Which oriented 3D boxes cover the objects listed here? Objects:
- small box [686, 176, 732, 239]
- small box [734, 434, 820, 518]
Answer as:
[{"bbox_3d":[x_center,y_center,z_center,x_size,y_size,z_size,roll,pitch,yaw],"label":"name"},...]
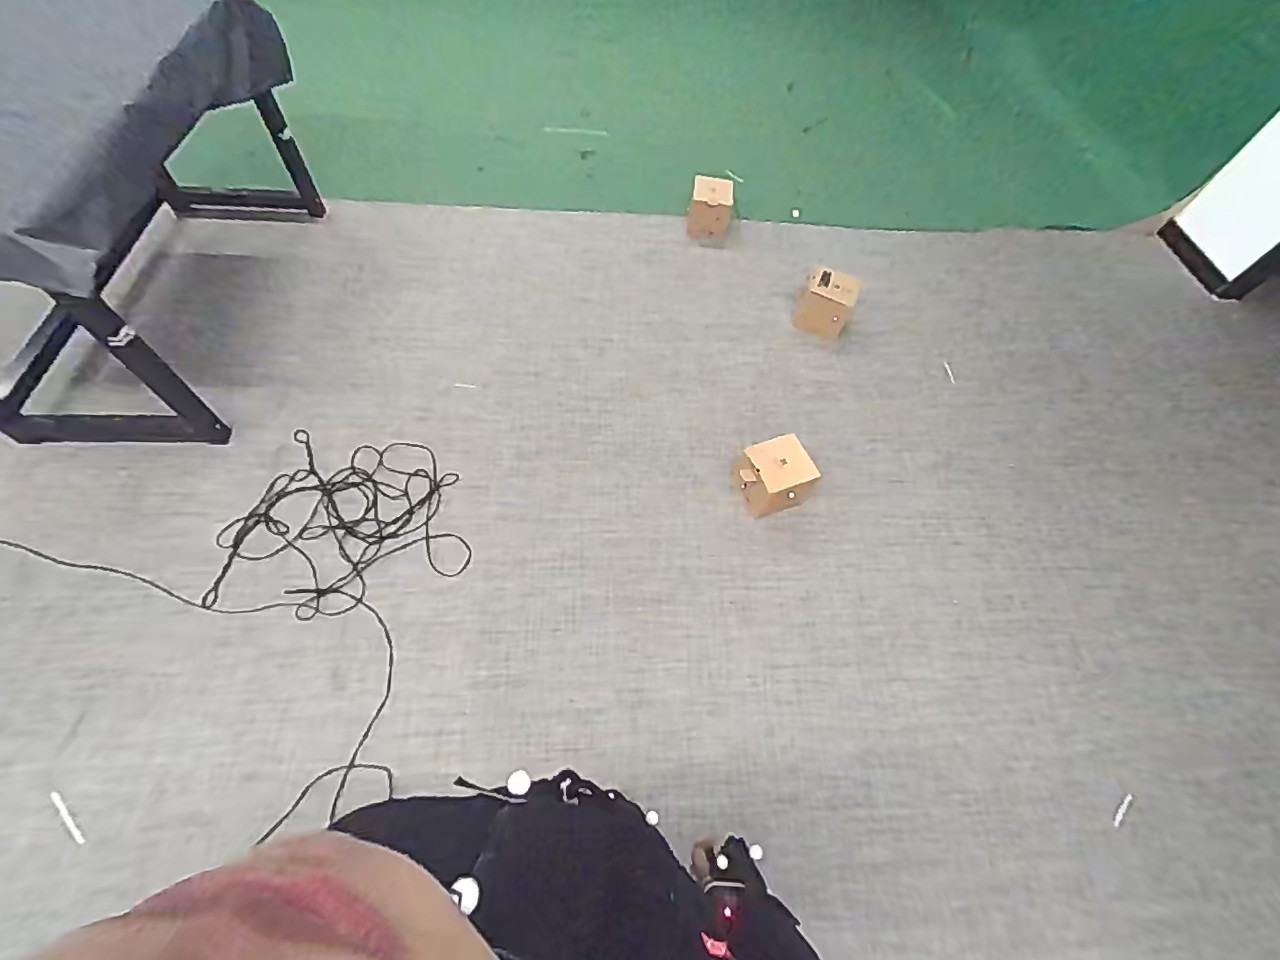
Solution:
[{"bbox_3d":[0.292,-1.162,2.316,0.168,0.176,0.179,8,58,-2],"label":"small box"},{"bbox_3d":[0.409,-0.010,1.646,0.179,0.176,0.168,-18,63,-14],"label":"small box"}]
